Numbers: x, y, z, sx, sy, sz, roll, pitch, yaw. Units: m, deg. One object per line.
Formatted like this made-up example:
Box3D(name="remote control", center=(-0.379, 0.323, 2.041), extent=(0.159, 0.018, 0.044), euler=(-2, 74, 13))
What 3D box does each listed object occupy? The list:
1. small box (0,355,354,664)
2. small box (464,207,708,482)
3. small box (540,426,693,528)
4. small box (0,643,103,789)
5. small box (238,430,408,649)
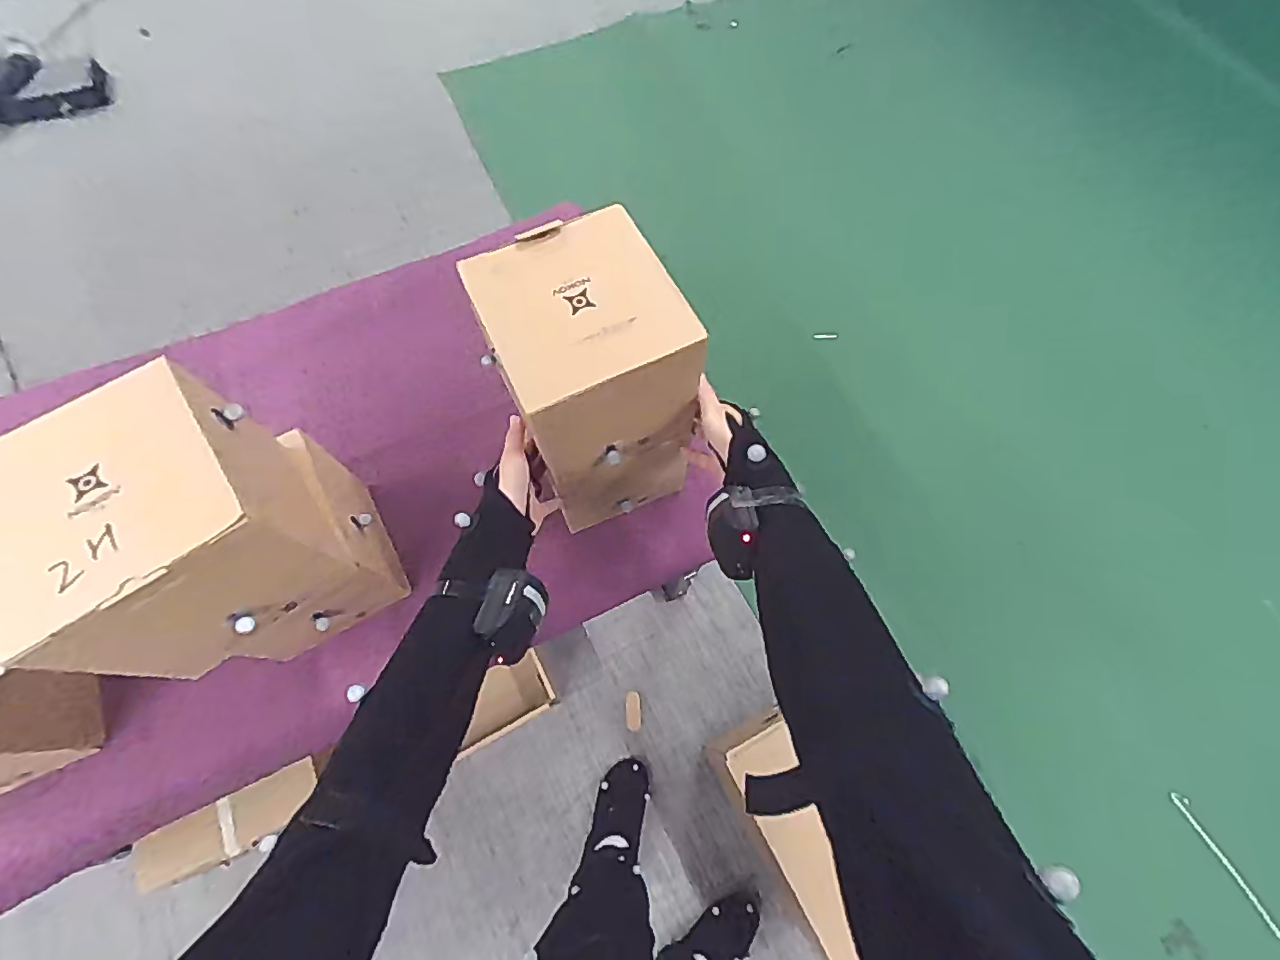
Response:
Box3D(name="small box", center=(-0.389, 0.036, 0.463), extent=(0.168, 0.176, 0.179), euler=(-35, 72, -14))
Box3D(name="small box", center=(-0.052, -0.126, 0.542), extent=(0.168, 0.176, 0.179), euler=(-24, 69, -9))
Box3D(name="small box", center=(-0.048, -0.063, 0.692), extent=(0.168, 0.176, 0.179), euler=(-21, 69, -9))
Box3D(name="small box", center=(-0.714, 0.227, 0.554), extent=(0.168, 0.176, 0.179), euler=(-23, 70, -11))
Box3D(name="small box", center=(-0.398, 0.079, 0.624), extent=(0.168, 0.176, 0.179), euler=(-29, 71, -13))
